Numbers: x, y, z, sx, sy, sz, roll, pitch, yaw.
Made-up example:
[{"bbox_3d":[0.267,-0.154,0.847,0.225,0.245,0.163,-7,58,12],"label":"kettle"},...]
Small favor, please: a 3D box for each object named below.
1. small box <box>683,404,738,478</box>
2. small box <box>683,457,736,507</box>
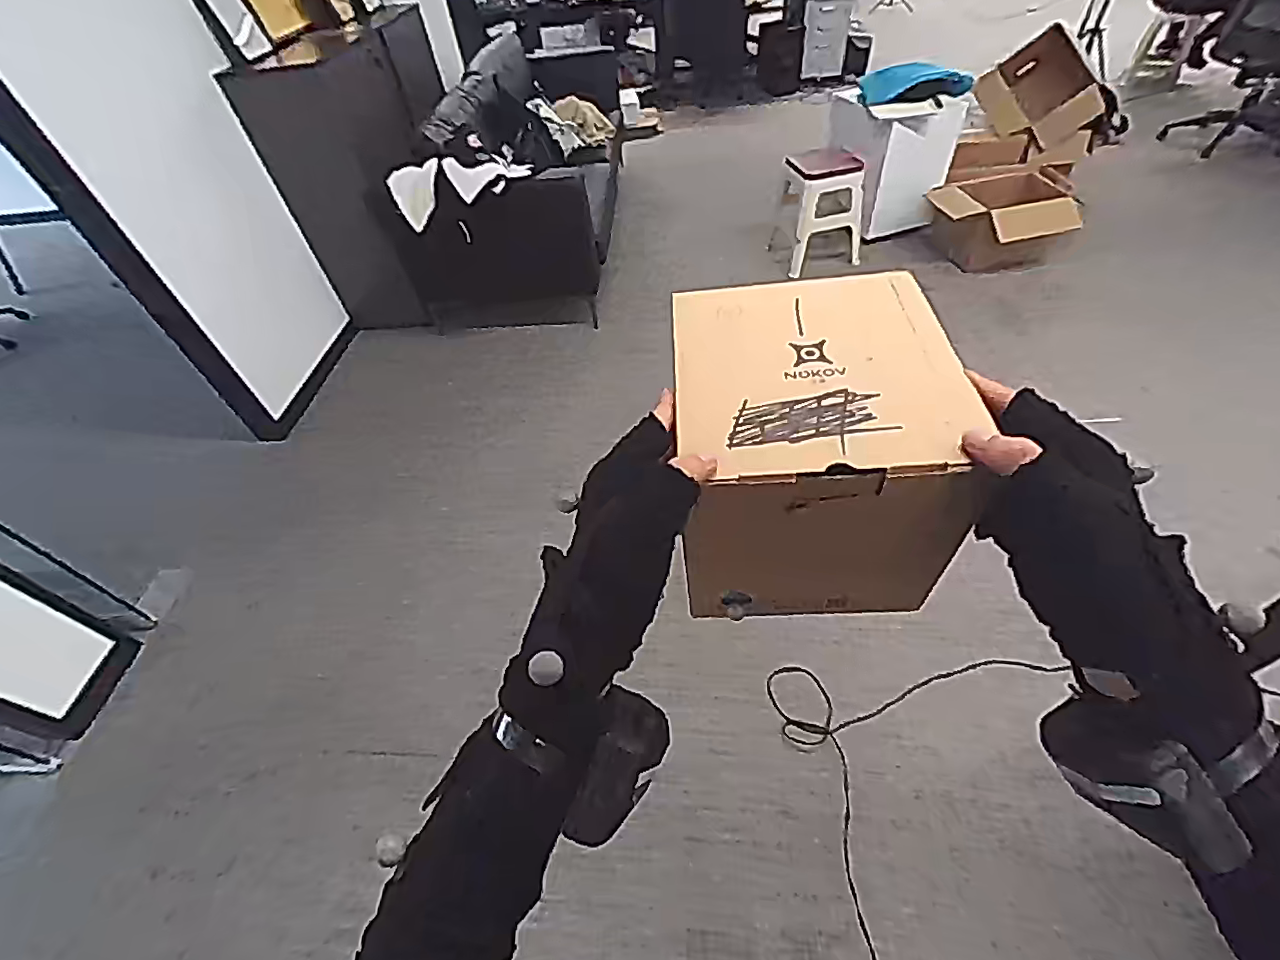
[{"bbox_3d":[0.224,-0.126,1.739,0.168,0.176,0.179,-1,48,7],"label":"small box"},{"bbox_3d":[0.240,-0.018,1.862,0.179,0.176,0.168,-1,48,6],"label":"small box"}]
